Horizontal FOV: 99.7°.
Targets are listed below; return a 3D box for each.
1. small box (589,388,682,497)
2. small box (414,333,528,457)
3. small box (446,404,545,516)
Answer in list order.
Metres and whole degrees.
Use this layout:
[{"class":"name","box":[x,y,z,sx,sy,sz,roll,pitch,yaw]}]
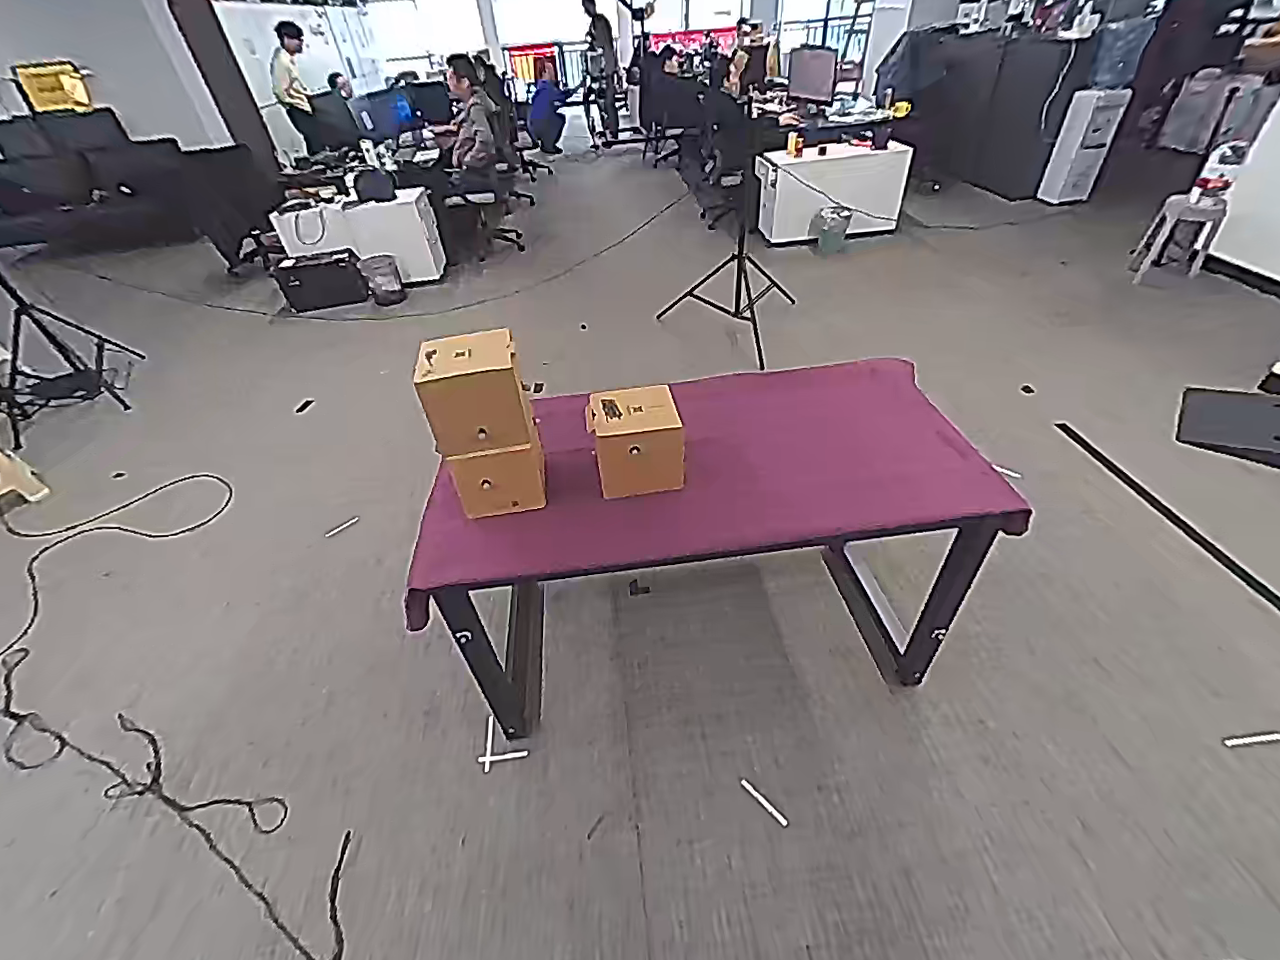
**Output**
[{"class":"small box","box":[-0.009,-0.078,1.173,0.179,0.176,0.168,-8,41,-4]},{"class":"small box","box":[-0.319,-0.166,1.058,0.179,0.176,0.168,-10,40,-6]},{"class":"small box","box":[-0.301,-0.038,1.159,0.168,0.176,0.179,-9,40,-5]}]
